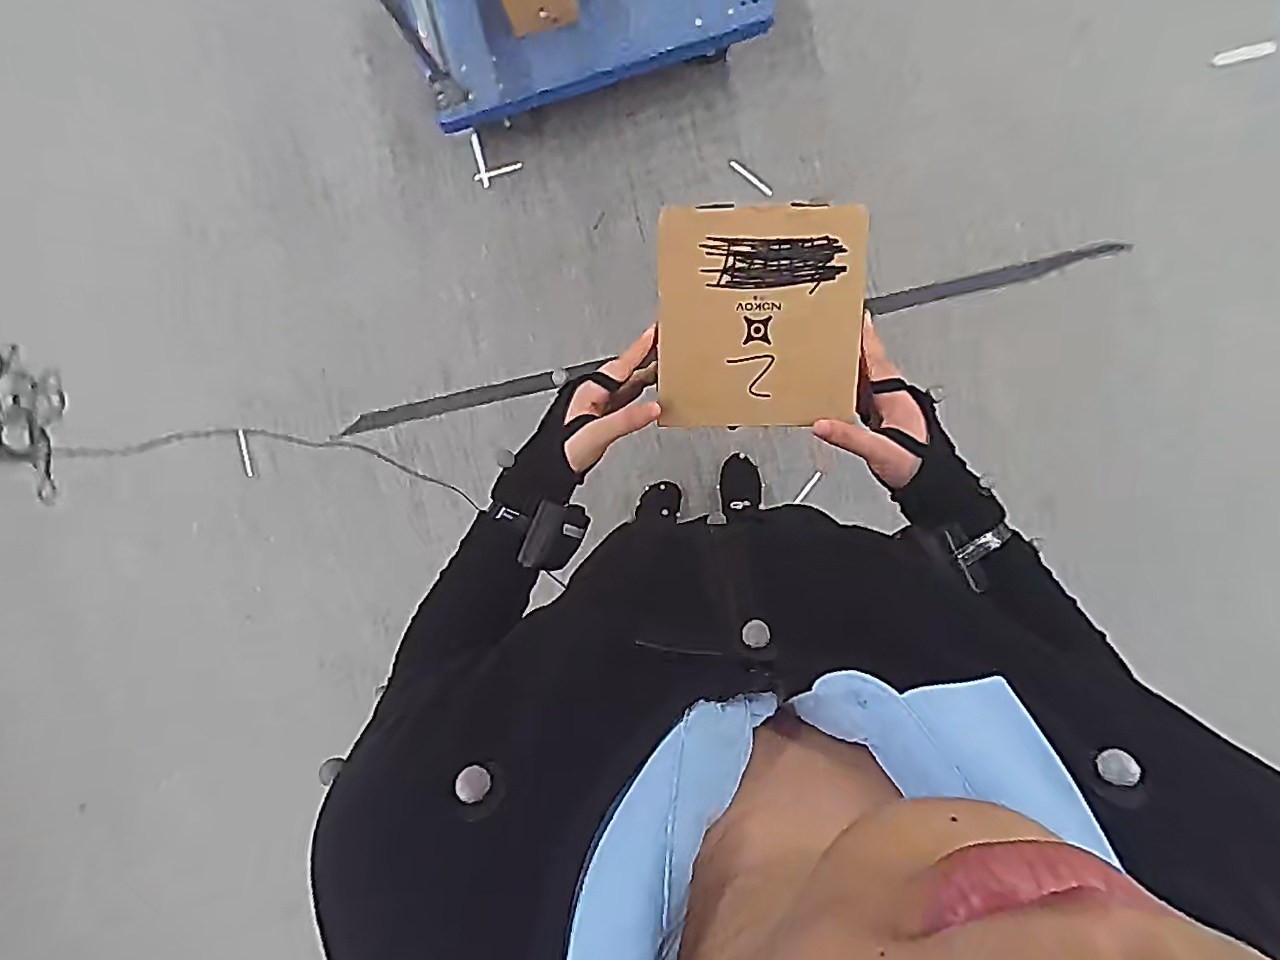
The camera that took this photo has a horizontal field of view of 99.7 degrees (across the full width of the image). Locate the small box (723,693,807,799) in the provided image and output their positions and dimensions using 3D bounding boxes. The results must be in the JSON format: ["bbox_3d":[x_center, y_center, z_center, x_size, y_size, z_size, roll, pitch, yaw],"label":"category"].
[{"bbox_3d":[0.321,0.688,1.412,0.168,0.176,0.179,-14,89,4],"label":"small box"}]

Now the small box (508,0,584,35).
[{"bbox_3d":[-0.232,-1.176,1.227,0.168,0.176,0.179,-10,91,5],"label":"small box"}]
